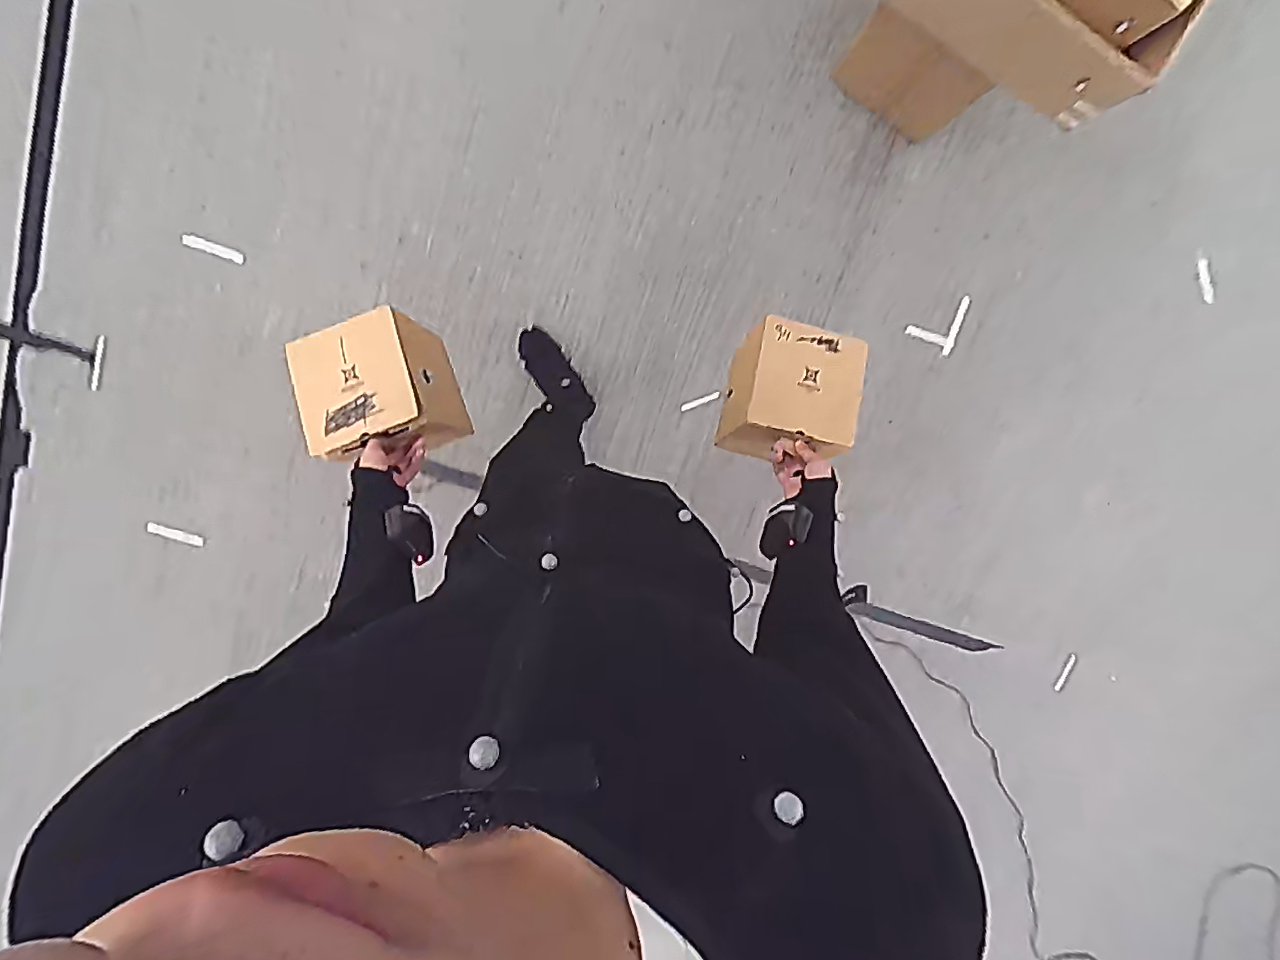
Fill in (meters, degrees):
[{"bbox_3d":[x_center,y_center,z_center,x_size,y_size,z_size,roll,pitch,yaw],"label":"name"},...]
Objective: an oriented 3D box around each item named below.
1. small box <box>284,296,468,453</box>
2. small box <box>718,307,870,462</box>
[{"bbox_3d":[-0.386,-0.145,0.822,0.168,0.176,0.179,-19,86,4],"label":"small box"},{"bbox_3d":[0.234,-0.139,0.861,0.168,0.176,0.179,15,79,-6],"label":"small box"}]
